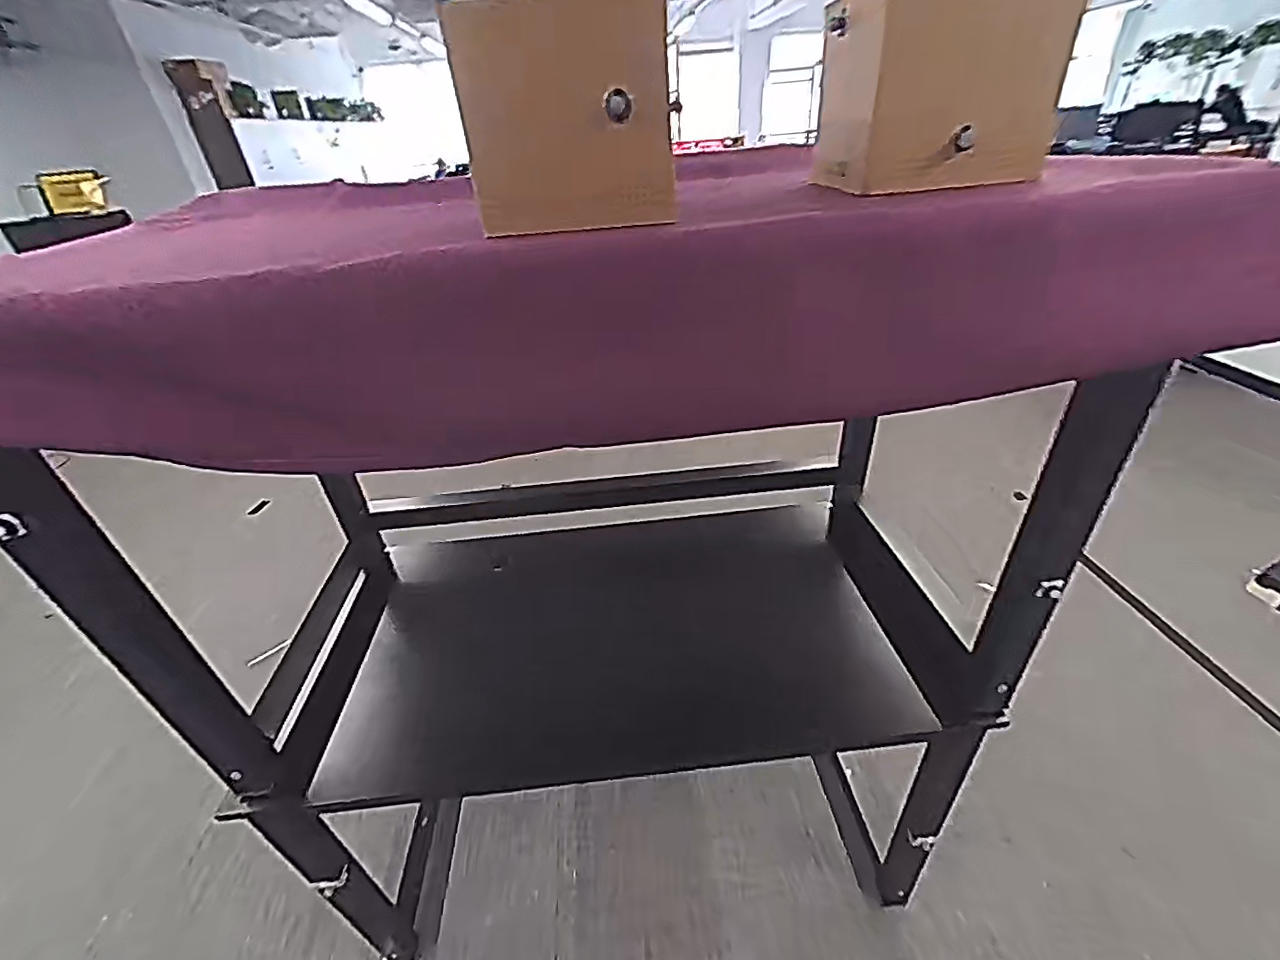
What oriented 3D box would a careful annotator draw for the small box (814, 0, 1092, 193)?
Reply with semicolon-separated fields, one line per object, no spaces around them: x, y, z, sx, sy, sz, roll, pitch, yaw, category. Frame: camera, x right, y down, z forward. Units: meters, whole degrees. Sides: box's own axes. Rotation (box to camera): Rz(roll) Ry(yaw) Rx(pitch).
0.290;-0.395;0.541;0.179;0.176;0.168;-5;32;0;small box

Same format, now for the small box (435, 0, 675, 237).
-0.057;-0.333;0.500;0.179;0.176;0.168;-4;32;3;small box
